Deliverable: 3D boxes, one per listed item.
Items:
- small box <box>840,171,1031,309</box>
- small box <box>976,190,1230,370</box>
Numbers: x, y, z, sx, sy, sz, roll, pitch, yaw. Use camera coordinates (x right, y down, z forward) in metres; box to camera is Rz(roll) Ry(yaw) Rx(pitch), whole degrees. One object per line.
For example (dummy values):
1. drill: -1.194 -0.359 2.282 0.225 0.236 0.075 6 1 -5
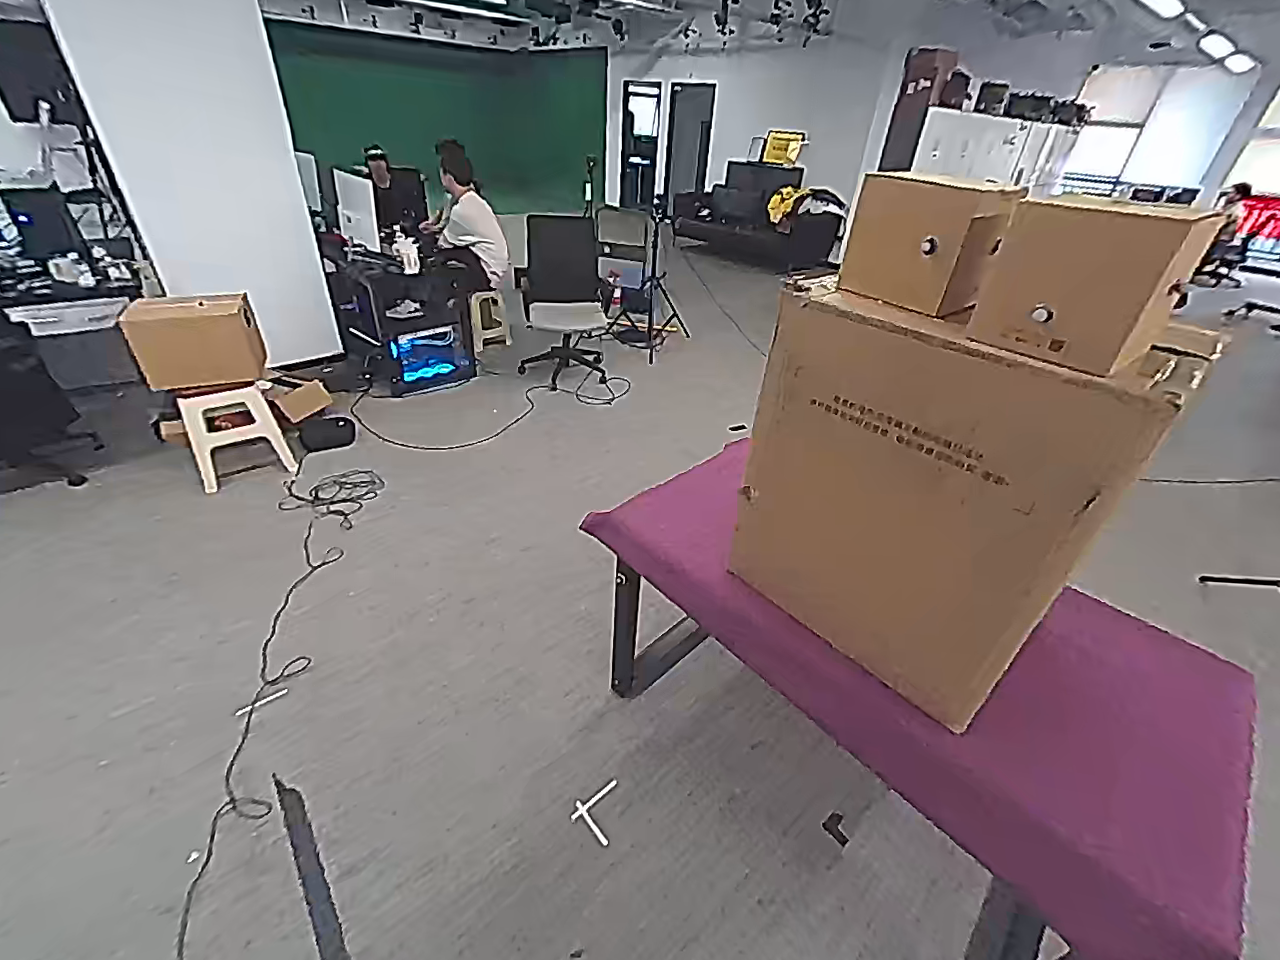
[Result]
1. small box: 0.443 -0.369 0.831 0.168 0.176 0.179 -22 42 -34
2. small box: 0.555 -0.251 0.666 0.179 0.176 0.168 -22 40 -33
